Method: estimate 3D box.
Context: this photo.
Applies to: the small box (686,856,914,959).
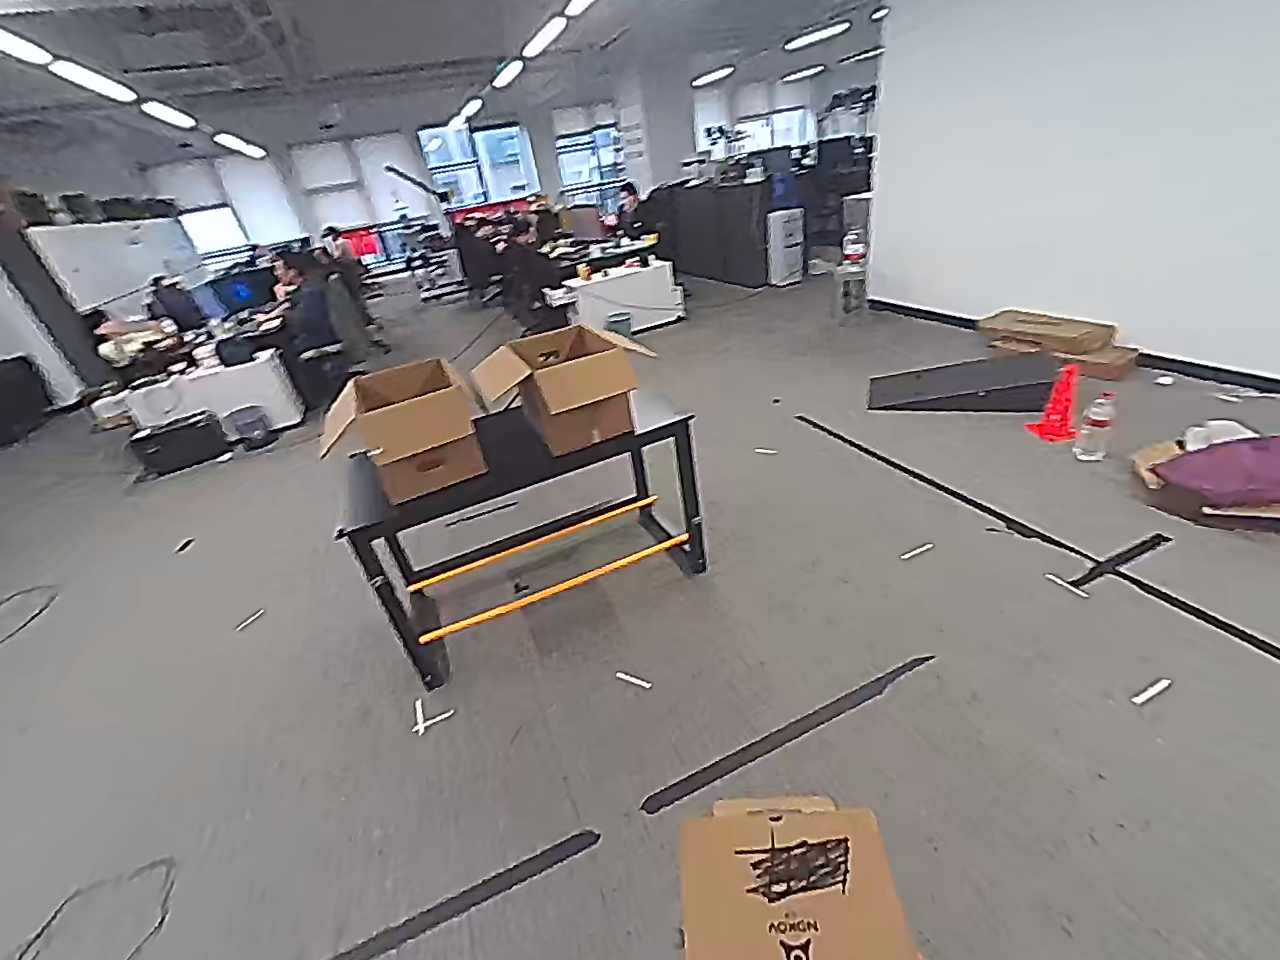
[{"bbox_3d":[0.125,0.428,0.430,0.168,0.176,0.179,-5,42,3],"label":"small box"}]
